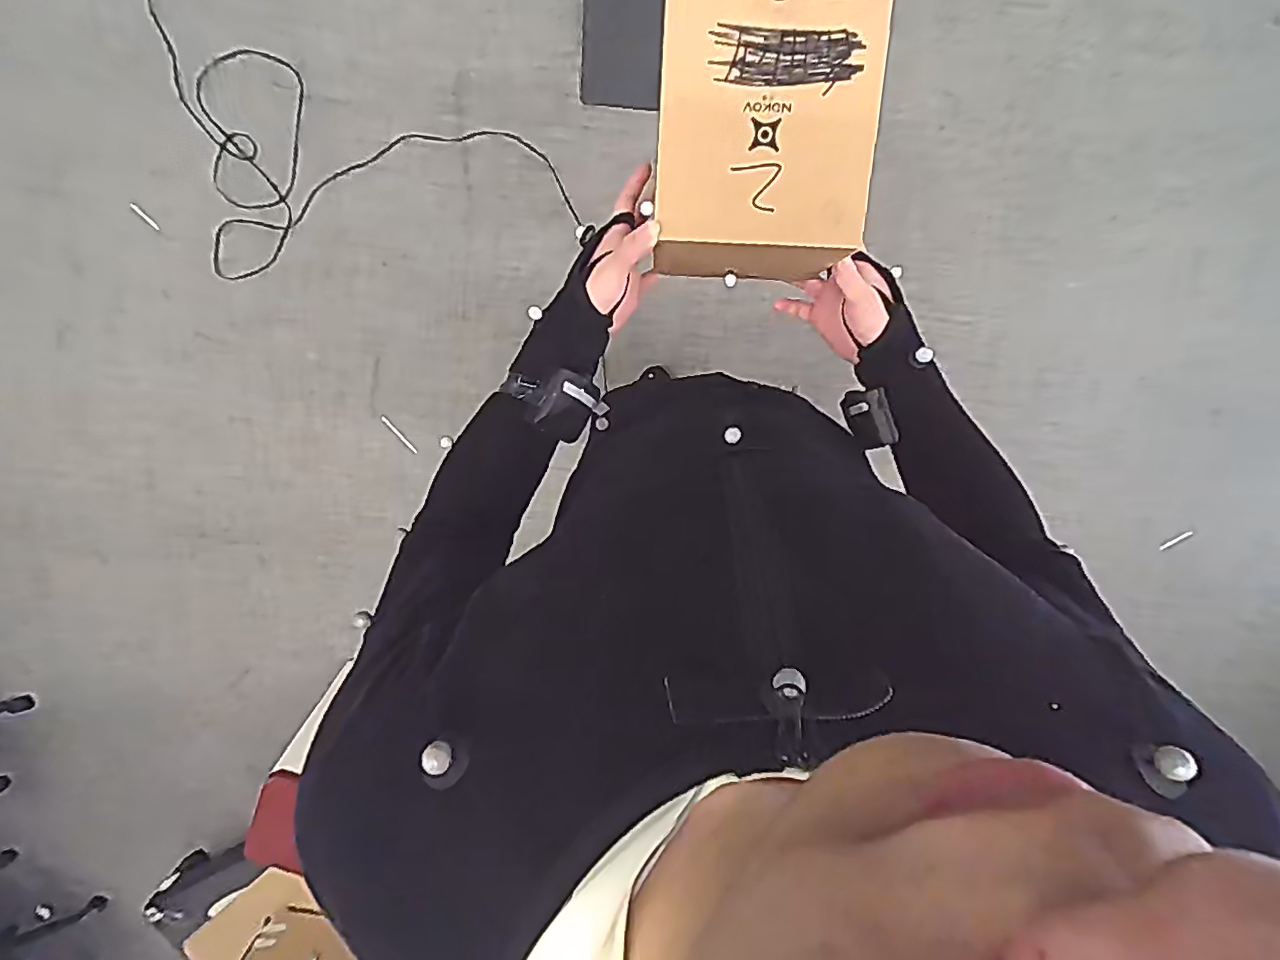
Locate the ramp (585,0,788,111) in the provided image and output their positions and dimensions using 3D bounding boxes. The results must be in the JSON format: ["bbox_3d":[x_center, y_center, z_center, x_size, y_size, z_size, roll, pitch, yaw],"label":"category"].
[{"bbox_3d":[0.138,-1.425,1.198,0.509,0.206,0.991,3,104,-1],"label":"ramp"}]
